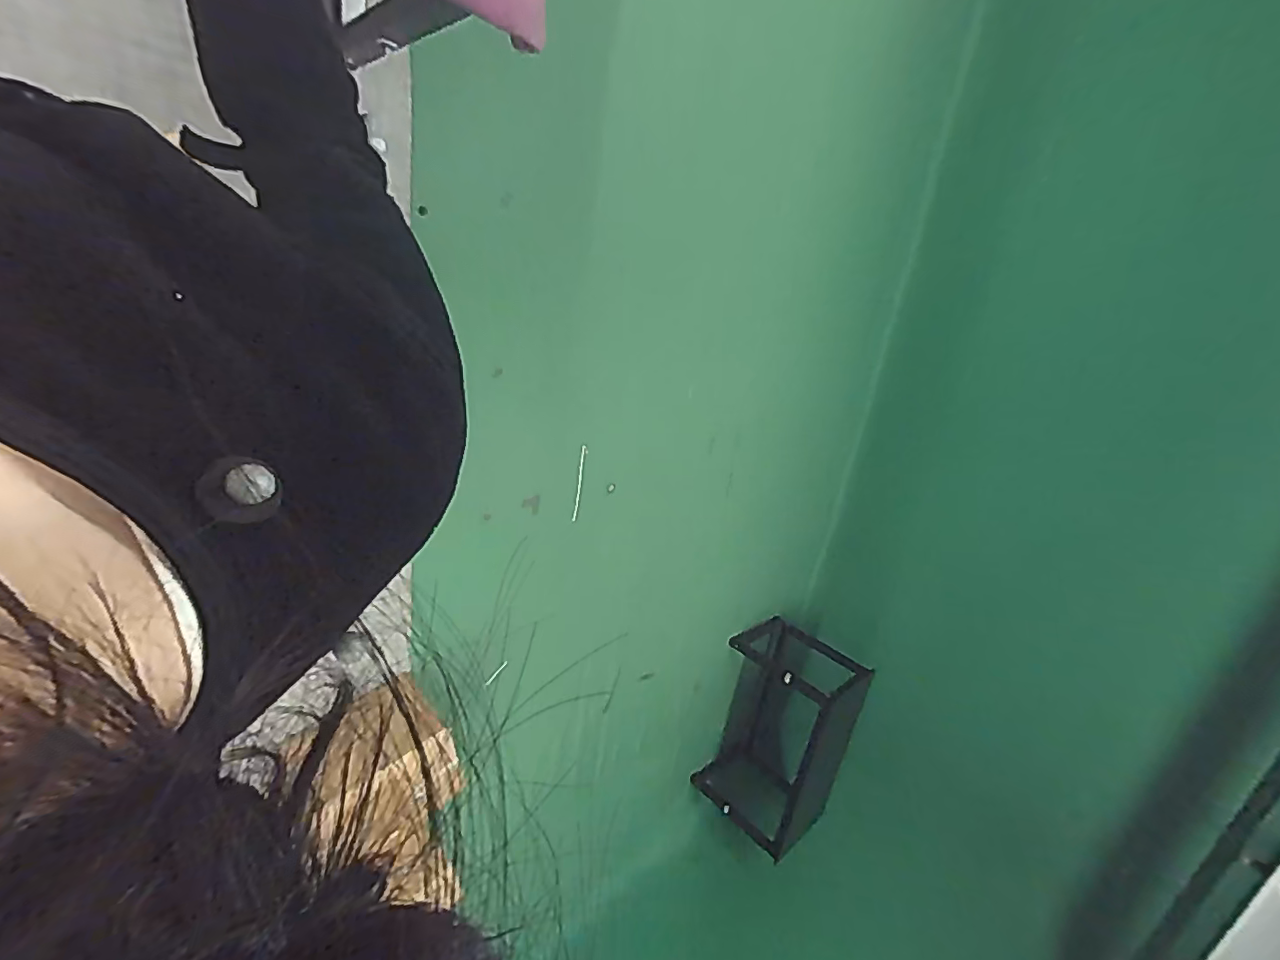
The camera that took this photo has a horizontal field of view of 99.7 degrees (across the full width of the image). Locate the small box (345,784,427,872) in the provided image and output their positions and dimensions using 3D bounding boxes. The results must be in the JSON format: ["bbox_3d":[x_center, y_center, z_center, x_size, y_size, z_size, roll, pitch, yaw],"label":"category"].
[{"bbox_3d":[-0.694,0.989,1.503,0.168,0.176,0.179,-25,126,-36],"label":"small box"}]

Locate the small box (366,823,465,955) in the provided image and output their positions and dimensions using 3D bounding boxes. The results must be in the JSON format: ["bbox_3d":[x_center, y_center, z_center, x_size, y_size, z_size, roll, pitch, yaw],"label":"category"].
[{"bbox_3d":[-0.584,1.046,1.396,0.179,0.176,0.168,-27,127,-36],"label":"small box"}]

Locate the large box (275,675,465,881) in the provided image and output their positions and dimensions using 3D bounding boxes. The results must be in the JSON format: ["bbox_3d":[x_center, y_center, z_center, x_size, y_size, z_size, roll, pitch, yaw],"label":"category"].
[{"bbox_3d":[-0.831,0.906,1.693,0.408,0.320,0.320,-27,128,-37],"label":"large box"}]
